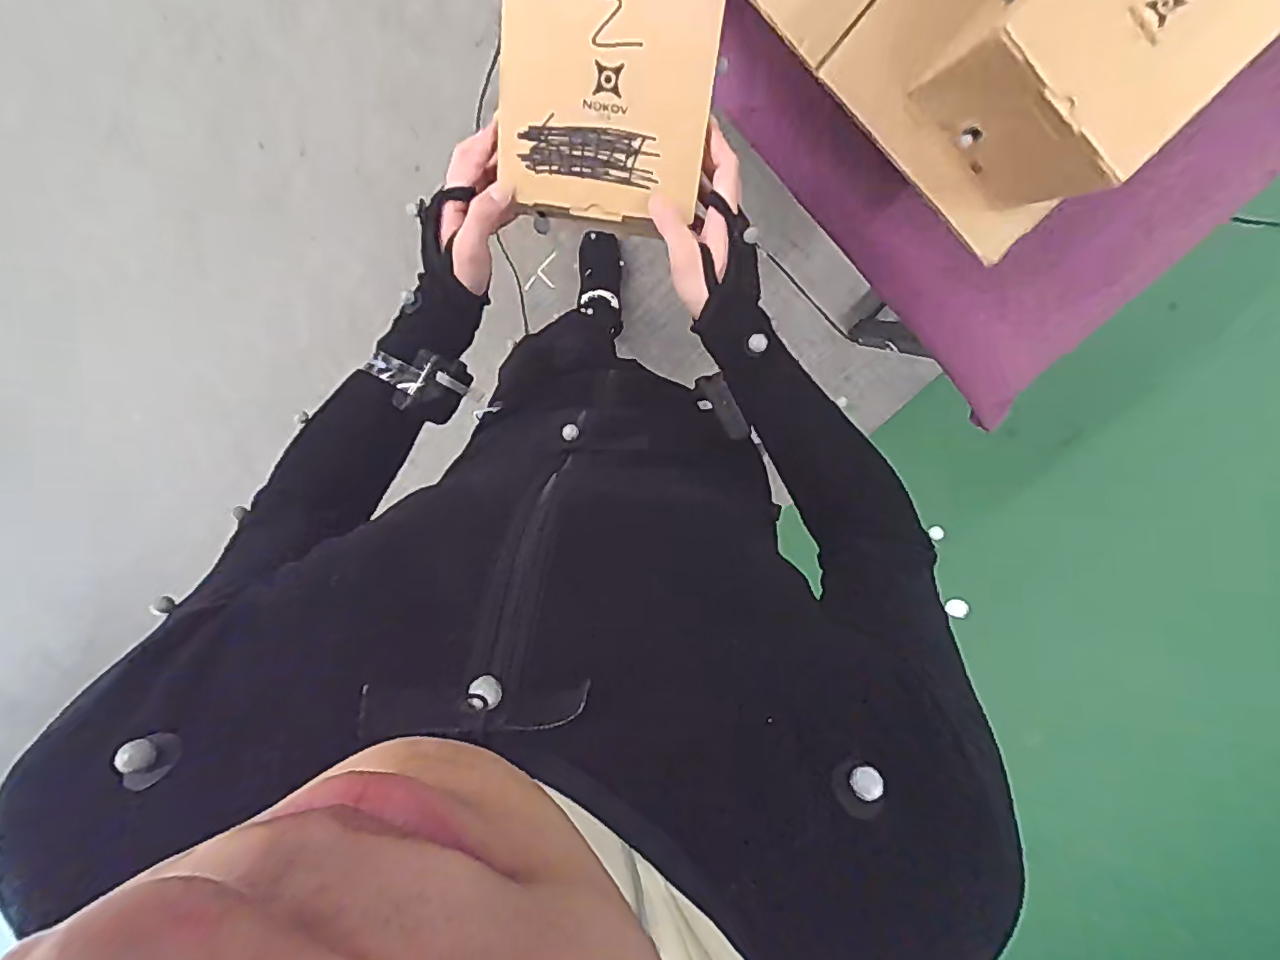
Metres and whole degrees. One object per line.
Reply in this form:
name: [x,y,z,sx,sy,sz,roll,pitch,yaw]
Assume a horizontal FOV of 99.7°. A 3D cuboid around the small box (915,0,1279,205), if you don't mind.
small box: [0.393,-0.381,0.482,0.168,0.176,0.179,39,106,-13]
